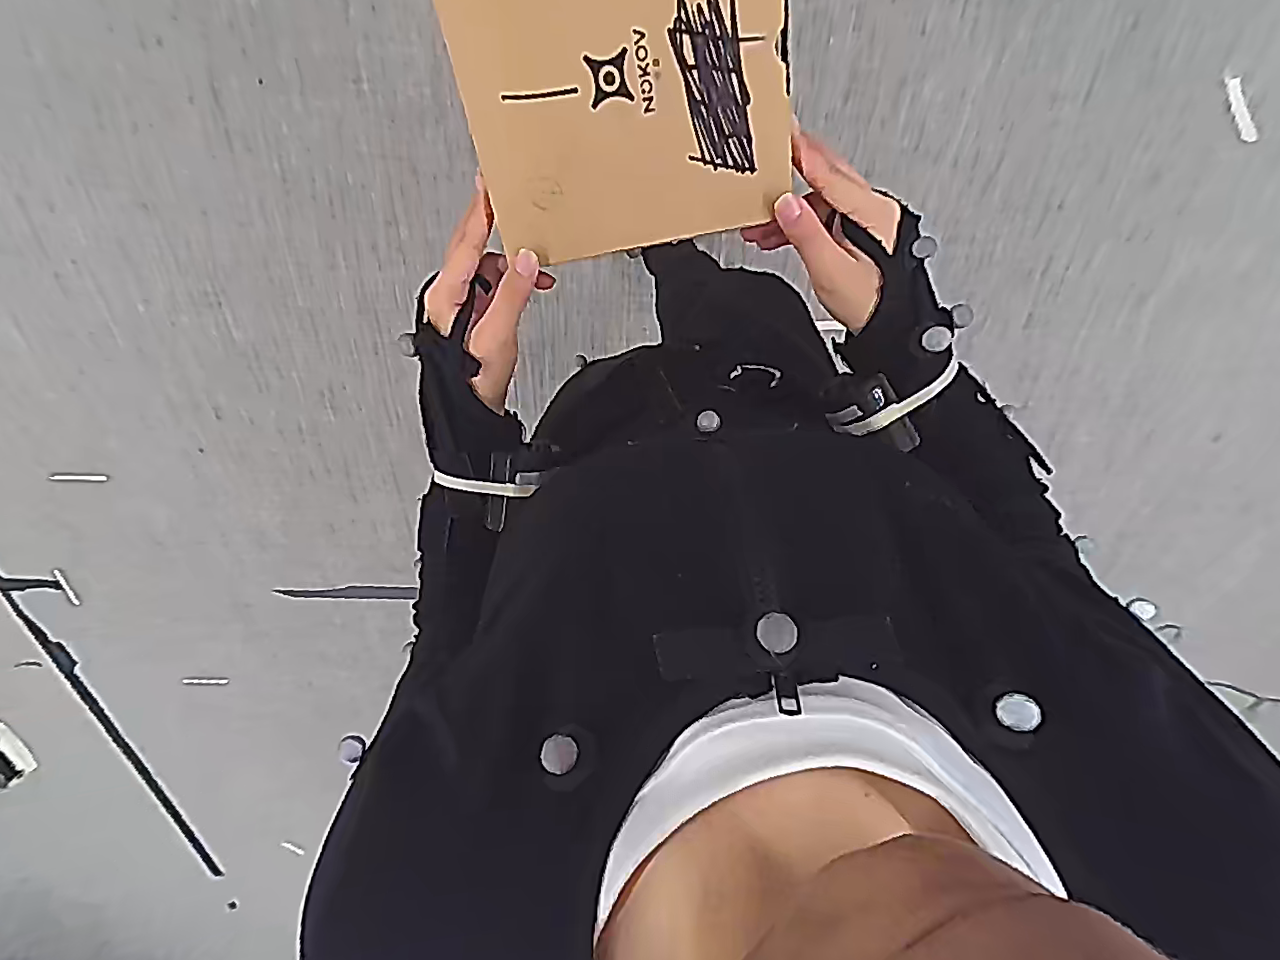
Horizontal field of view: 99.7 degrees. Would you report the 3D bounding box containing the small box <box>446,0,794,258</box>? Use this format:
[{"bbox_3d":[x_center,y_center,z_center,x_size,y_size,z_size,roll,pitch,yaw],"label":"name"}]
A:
[{"bbox_3d":[-0.011,-0.260,0.357,0.179,0.176,0.168,-10,121,2],"label":"small box"}]
